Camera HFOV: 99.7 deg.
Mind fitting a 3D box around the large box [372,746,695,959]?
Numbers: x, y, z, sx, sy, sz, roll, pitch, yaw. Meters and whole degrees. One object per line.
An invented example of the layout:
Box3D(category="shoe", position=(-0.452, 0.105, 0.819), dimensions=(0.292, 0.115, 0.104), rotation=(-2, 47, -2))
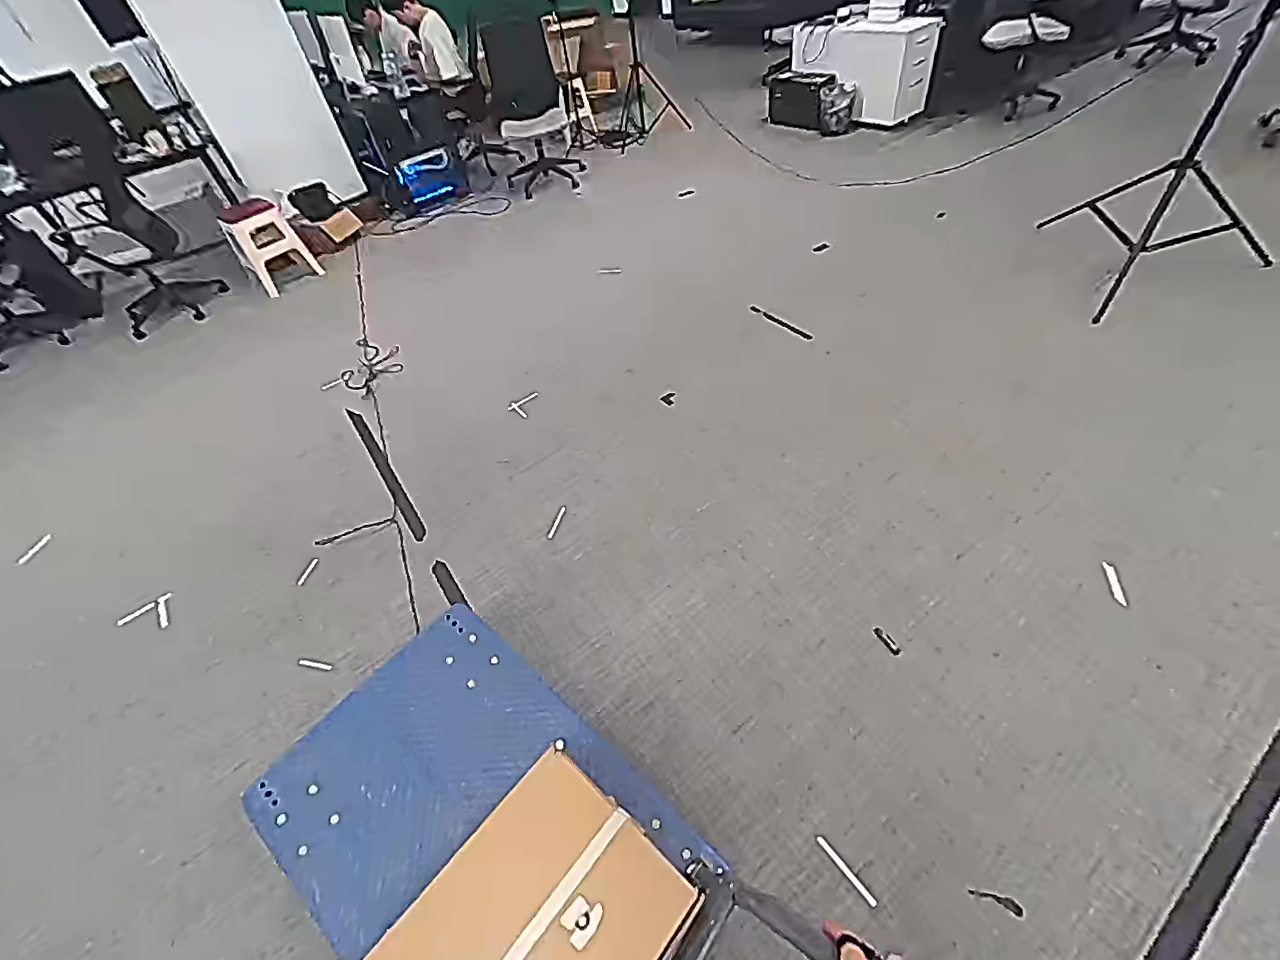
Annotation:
Box3D(category="large box", position=(-0.159, 0.743, 0.903), dimensions=(0.320, 0.320, 0.408), rotation=(36, 62, 20))
